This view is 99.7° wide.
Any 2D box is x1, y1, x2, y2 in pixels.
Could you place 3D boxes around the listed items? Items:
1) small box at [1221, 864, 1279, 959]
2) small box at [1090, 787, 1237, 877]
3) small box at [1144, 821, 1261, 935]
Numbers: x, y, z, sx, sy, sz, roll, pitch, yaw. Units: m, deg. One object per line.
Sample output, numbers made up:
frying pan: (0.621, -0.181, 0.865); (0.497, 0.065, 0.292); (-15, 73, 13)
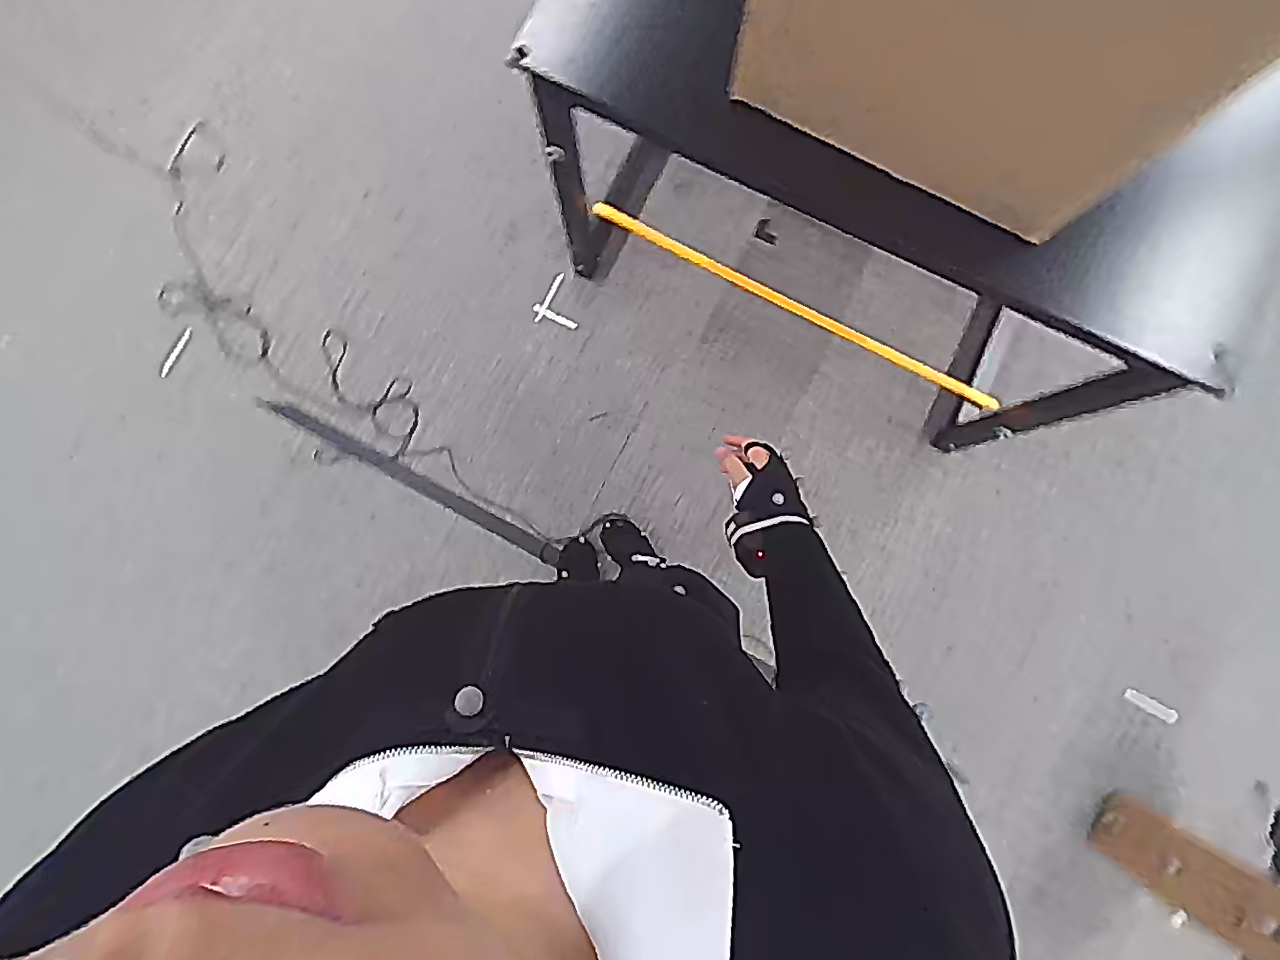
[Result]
small box: (1.288, 0.880, 1.026); (0.179, 0.176, 0.168); (28, 85, 3)
small box: (1.299, 0.910, 1.353); (0.179, 0.176, 0.168); (27, 84, 3)
small box: (1.289, 0.897, 1.189); (0.179, 0.176, 0.168); (27, 84, 2)
